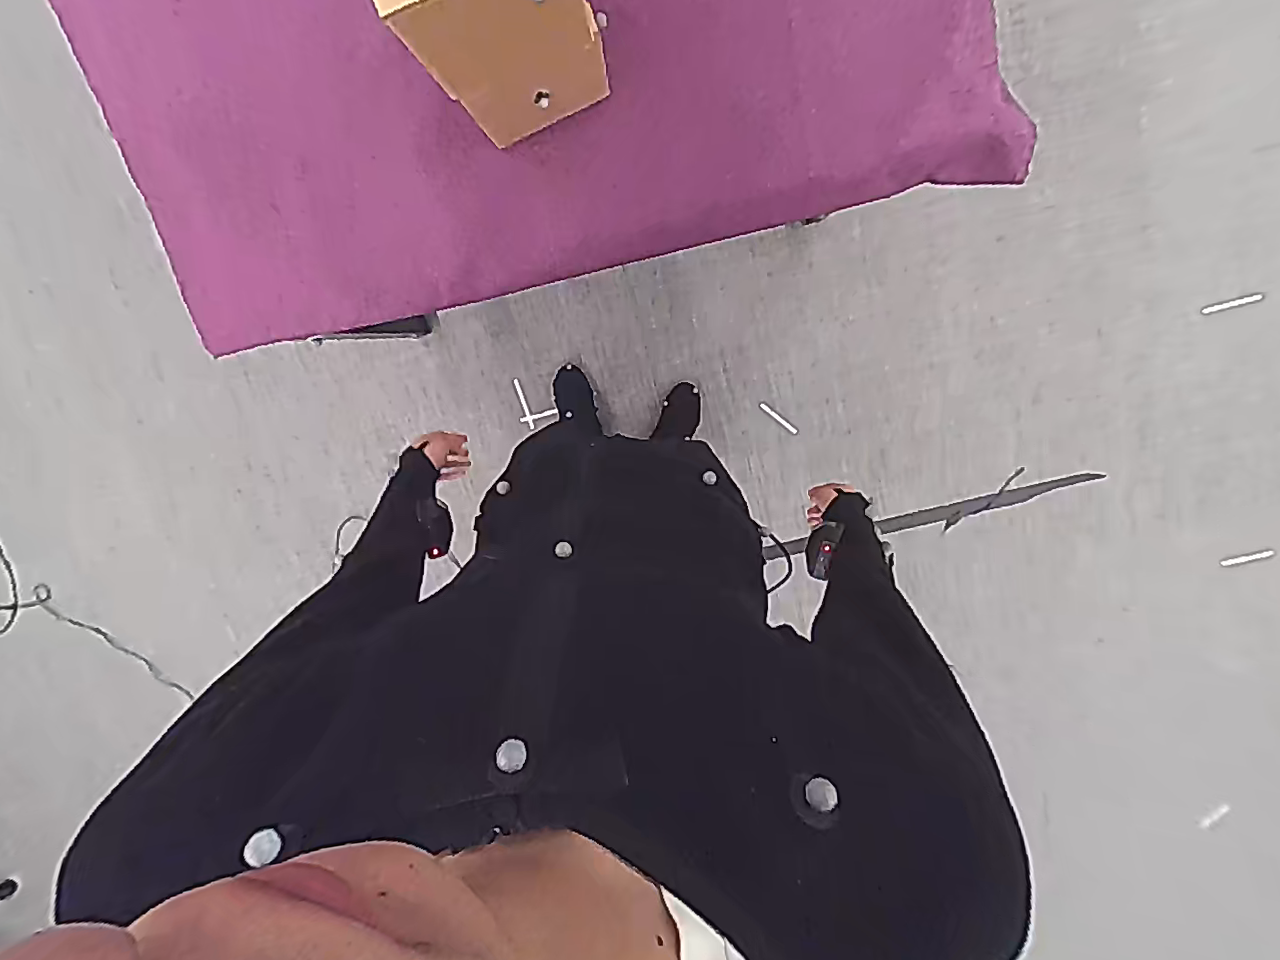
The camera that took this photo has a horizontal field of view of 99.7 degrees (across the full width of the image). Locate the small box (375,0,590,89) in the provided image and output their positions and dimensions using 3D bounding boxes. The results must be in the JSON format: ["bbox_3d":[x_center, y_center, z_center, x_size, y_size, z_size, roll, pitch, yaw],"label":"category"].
[{"bbox_3d":[-0.160,-0.514,0.510,0.179,0.176,0.168,-17,104,5],"label":"small box"}]
